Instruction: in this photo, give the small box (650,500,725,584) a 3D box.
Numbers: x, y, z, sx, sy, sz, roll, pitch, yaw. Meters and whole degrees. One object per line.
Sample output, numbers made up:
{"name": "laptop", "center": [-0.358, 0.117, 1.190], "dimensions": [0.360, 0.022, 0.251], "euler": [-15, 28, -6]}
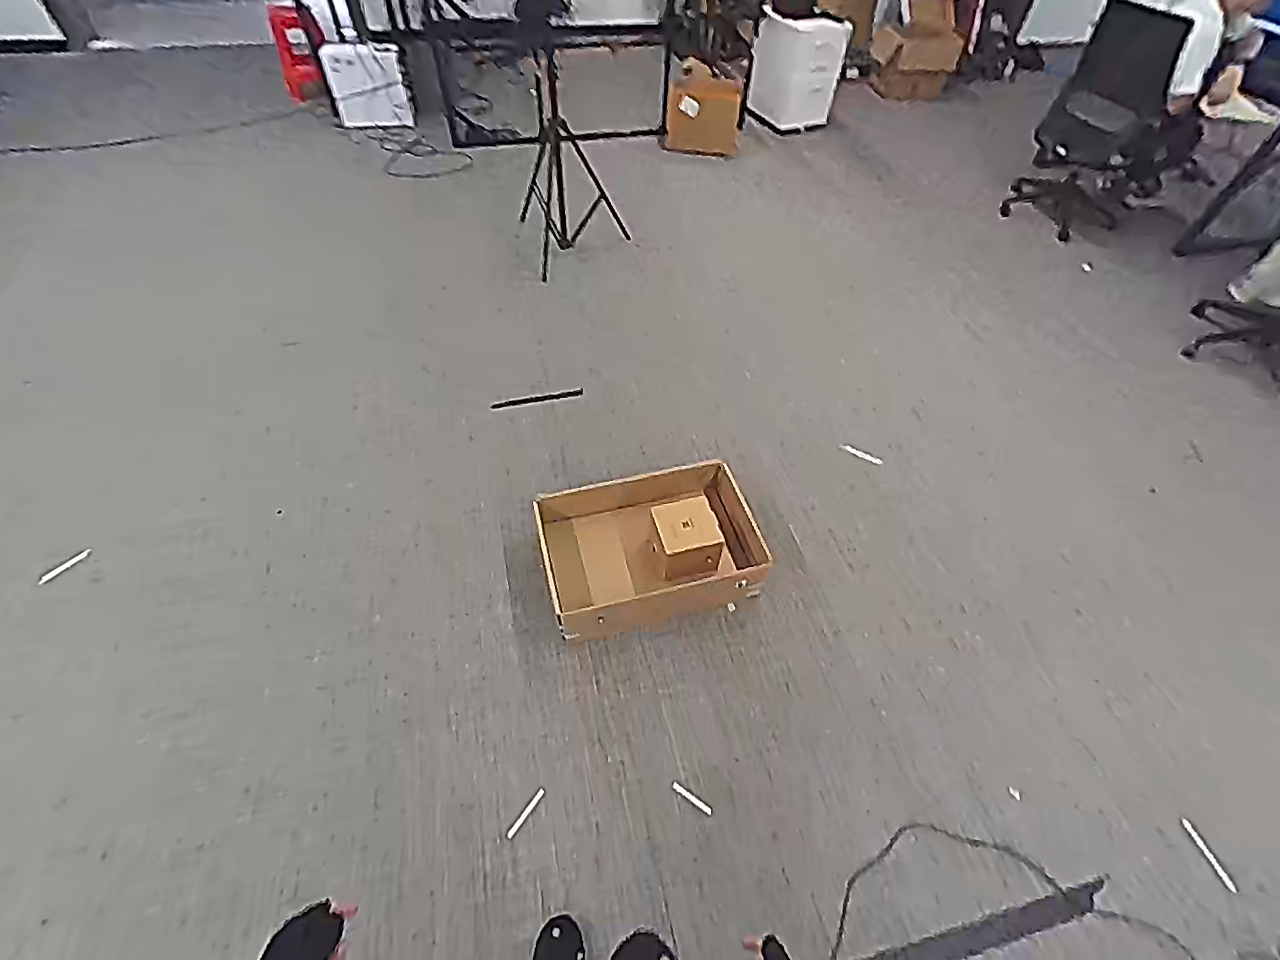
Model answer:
{"name": "small box", "center": [0.134, 0.187, 1.611], "dimensions": [0.179, 0.176, 0.168], "euler": [-13, 53, -10]}
